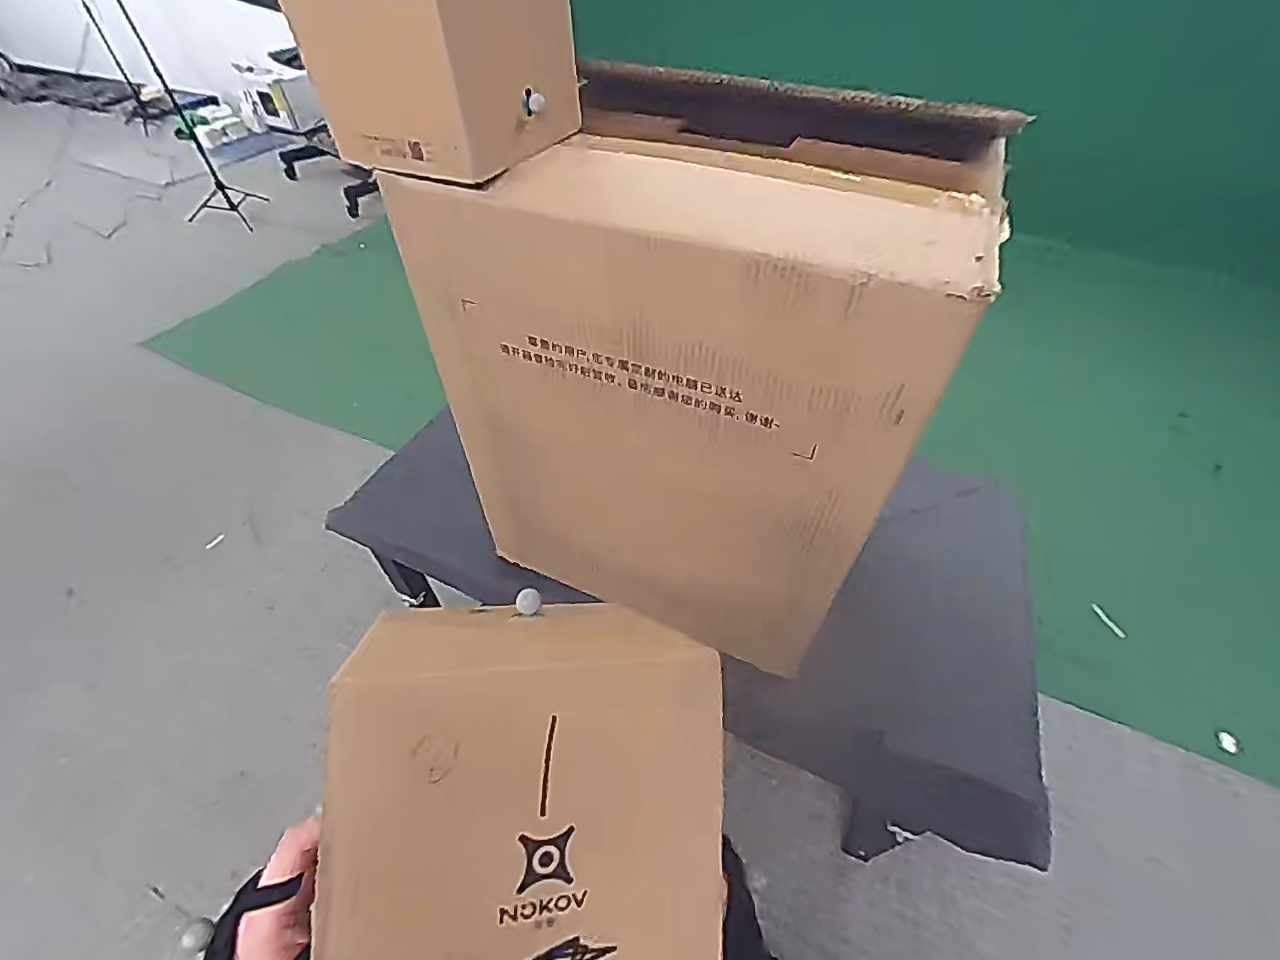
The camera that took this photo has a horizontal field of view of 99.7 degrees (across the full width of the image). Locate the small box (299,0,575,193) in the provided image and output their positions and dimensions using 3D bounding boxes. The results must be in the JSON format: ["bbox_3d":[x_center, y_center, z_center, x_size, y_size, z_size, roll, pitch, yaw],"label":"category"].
[{"bbox_3d":[-0.171,-0.383,0.486,0.168,0.176,0.179,19,50,20],"label":"small box"}]
